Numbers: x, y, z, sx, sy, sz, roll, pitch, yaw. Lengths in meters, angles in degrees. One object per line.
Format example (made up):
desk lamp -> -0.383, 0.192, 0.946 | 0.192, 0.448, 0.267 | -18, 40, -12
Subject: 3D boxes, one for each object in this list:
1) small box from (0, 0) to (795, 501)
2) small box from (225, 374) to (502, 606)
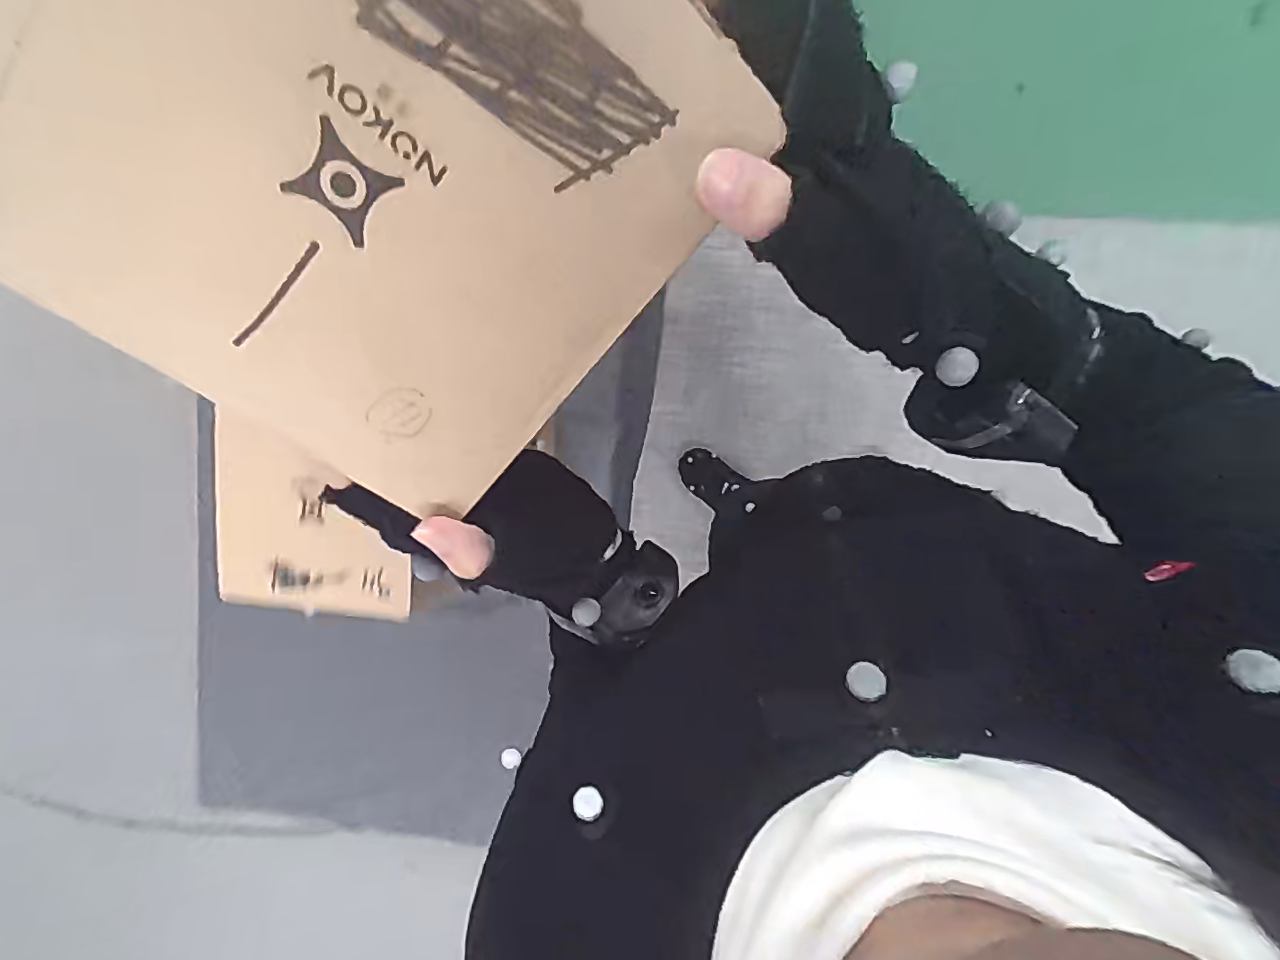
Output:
small box -> -0.080, -0.133, 0.212 | 0.179, 0.176, 0.168 | -42, 116, 15
small box -> -0.238, -0.001, 0.502 | 0.168, 0.176, 0.179 | 5, 95, 8
